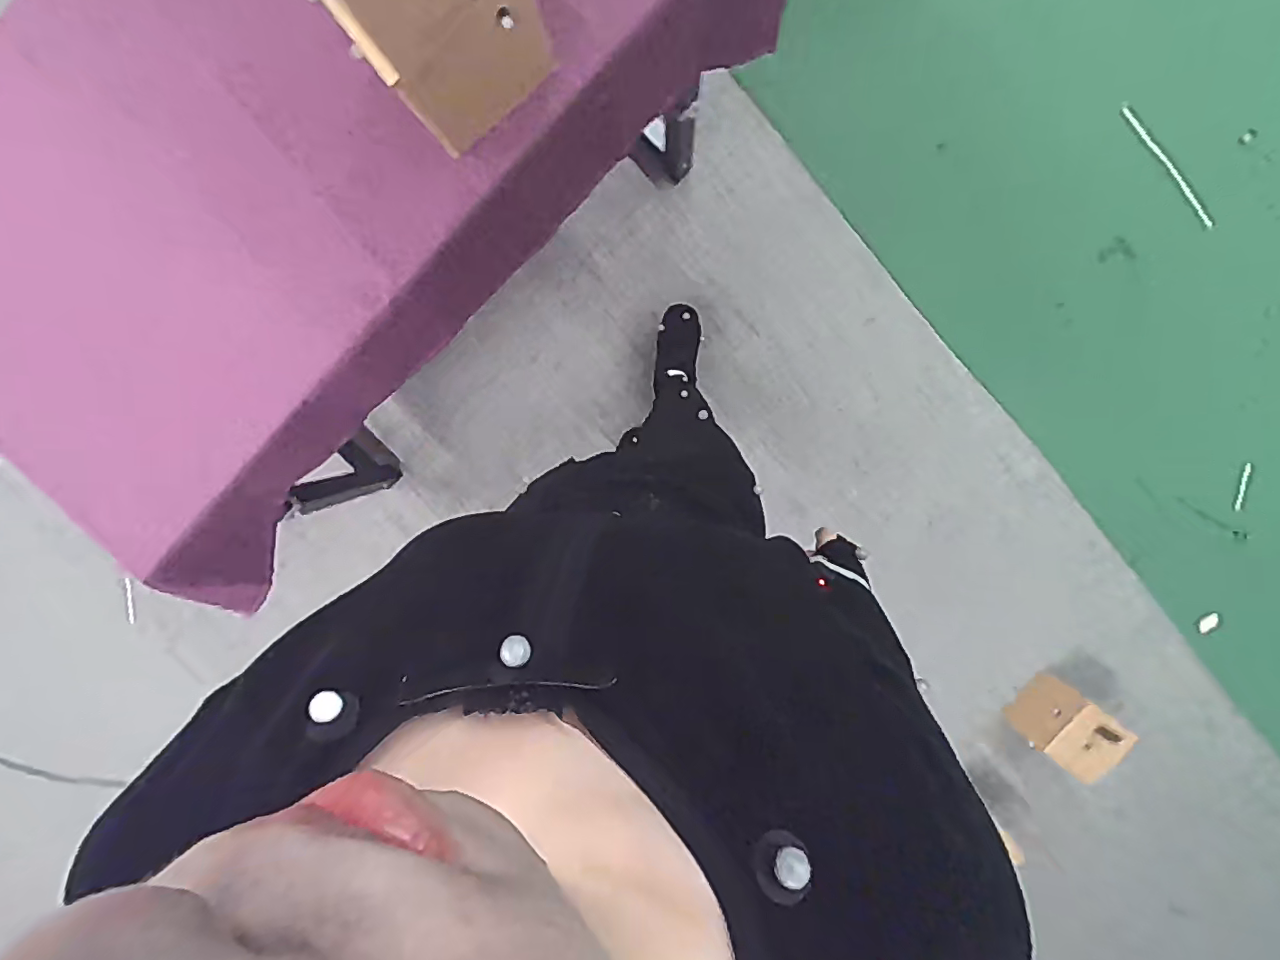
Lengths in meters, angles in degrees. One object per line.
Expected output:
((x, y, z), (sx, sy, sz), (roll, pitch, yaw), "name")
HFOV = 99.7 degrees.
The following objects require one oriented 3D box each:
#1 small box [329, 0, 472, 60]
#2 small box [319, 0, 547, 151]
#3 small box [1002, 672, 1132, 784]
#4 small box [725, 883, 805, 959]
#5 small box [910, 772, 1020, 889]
((-0.234, -0.500, 0.442), (0.168, 0.176, 0.179), (-41, 95, 6), "small box")
((-0.229, -0.519, 0.606), (0.179, 0.176, 0.168), (-37, 94, 6), "small box")
((1.128, 0.652, 1.445), (0.168, 0.176, 0.179), (37, 99, -3), "small box")
((0.363, 1.327, 1.573), (0.179, 0.176, 0.168), (-24, 96, 6), "small box")
((0.885, 0.964, 1.499), (0.179, 0.176, 0.168), (-40, 95, 7), "small box")
